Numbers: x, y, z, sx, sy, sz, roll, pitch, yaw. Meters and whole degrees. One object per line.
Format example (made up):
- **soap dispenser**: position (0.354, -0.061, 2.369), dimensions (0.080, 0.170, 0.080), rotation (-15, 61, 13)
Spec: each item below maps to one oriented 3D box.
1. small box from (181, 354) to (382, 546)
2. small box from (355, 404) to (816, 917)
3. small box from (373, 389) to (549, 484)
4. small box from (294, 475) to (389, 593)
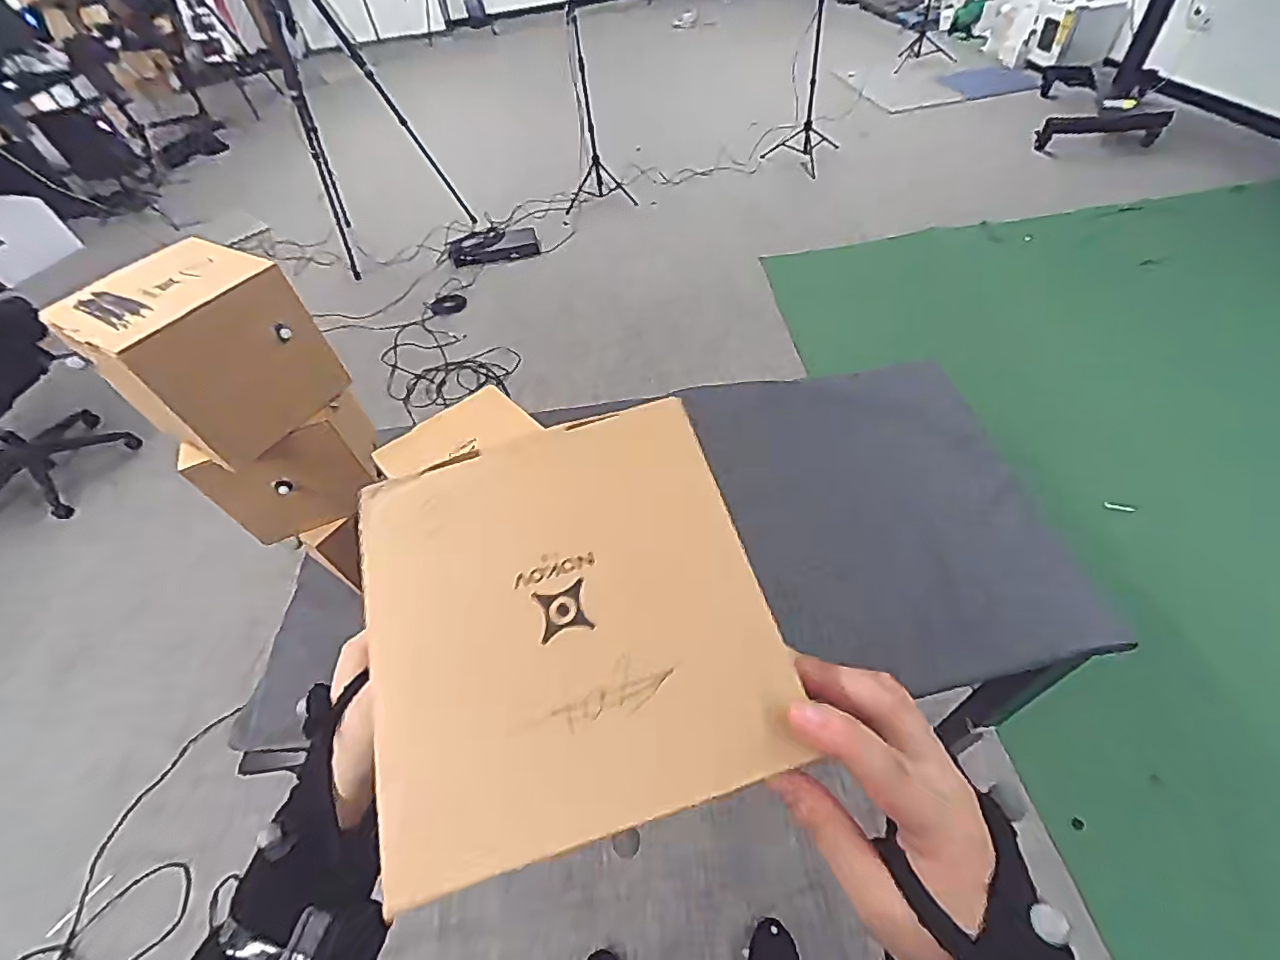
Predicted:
- **small box**: position (-0.482, -0.040, 0.757), dimensions (0.179, 0.176, 0.168), rotation (-23, 52, -10)
- **small box**: position (-0.031, 0.092, 0.301), dimensions (0.168, 0.176, 0.179), rotation (-18, 64, -4)
- **small box**: position (-0.180, 0.027, 0.660), dimensions (0.168, 0.176, 0.179), rotation (-37, 54, -21)
- **small box**: position (-0.465, 0.062, 0.886), dimensions (0.179, 0.176, 0.168), rotation (25, 58, 25)
